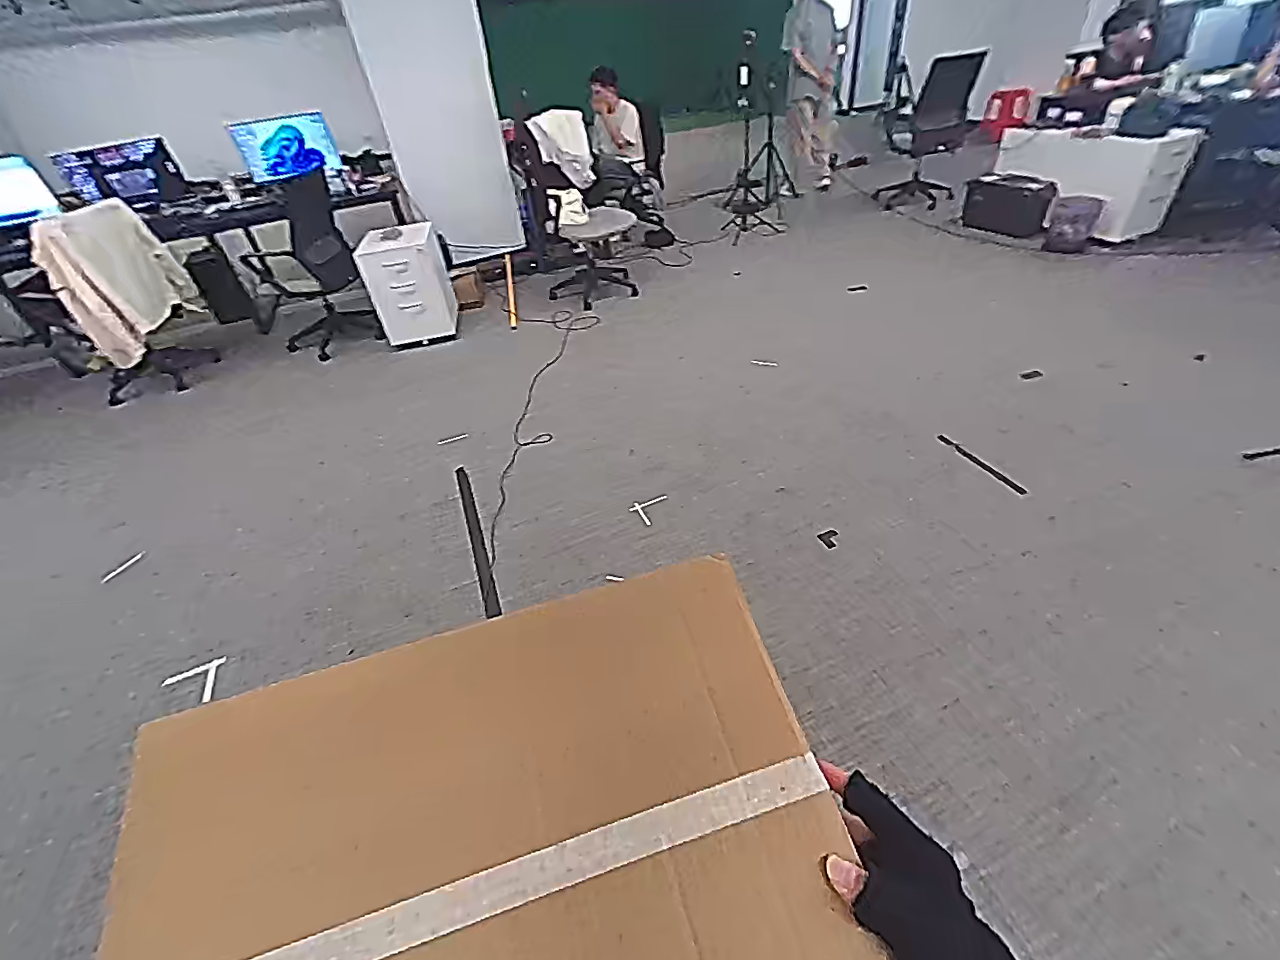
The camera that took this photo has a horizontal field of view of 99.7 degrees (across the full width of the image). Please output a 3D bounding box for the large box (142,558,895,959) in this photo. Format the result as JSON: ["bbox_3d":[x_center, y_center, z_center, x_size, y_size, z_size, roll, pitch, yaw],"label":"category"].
[{"bbox_3d":[-0.078,0.315,0.439,0.408,0.320,0.320,-15,59,-8],"label":"large box"}]
